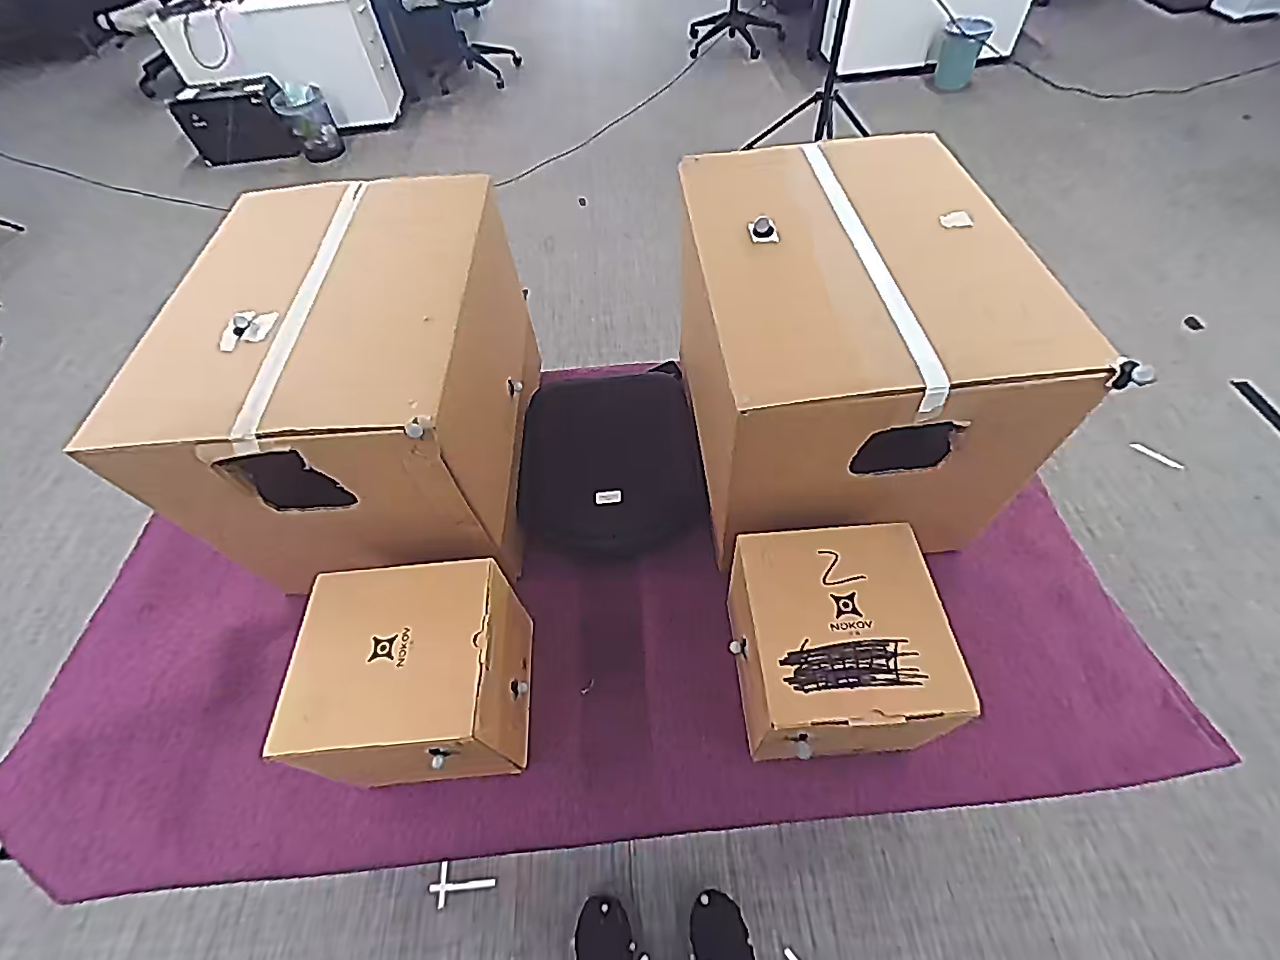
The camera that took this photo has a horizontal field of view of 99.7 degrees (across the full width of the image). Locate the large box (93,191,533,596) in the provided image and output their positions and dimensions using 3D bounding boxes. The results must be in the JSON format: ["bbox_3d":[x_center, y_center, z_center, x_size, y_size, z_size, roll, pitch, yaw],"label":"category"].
[{"bbox_3d":[-0.324,-0.102,0.690,0.320,0.320,0.408,-5,57,2],"label":"large box"}]
